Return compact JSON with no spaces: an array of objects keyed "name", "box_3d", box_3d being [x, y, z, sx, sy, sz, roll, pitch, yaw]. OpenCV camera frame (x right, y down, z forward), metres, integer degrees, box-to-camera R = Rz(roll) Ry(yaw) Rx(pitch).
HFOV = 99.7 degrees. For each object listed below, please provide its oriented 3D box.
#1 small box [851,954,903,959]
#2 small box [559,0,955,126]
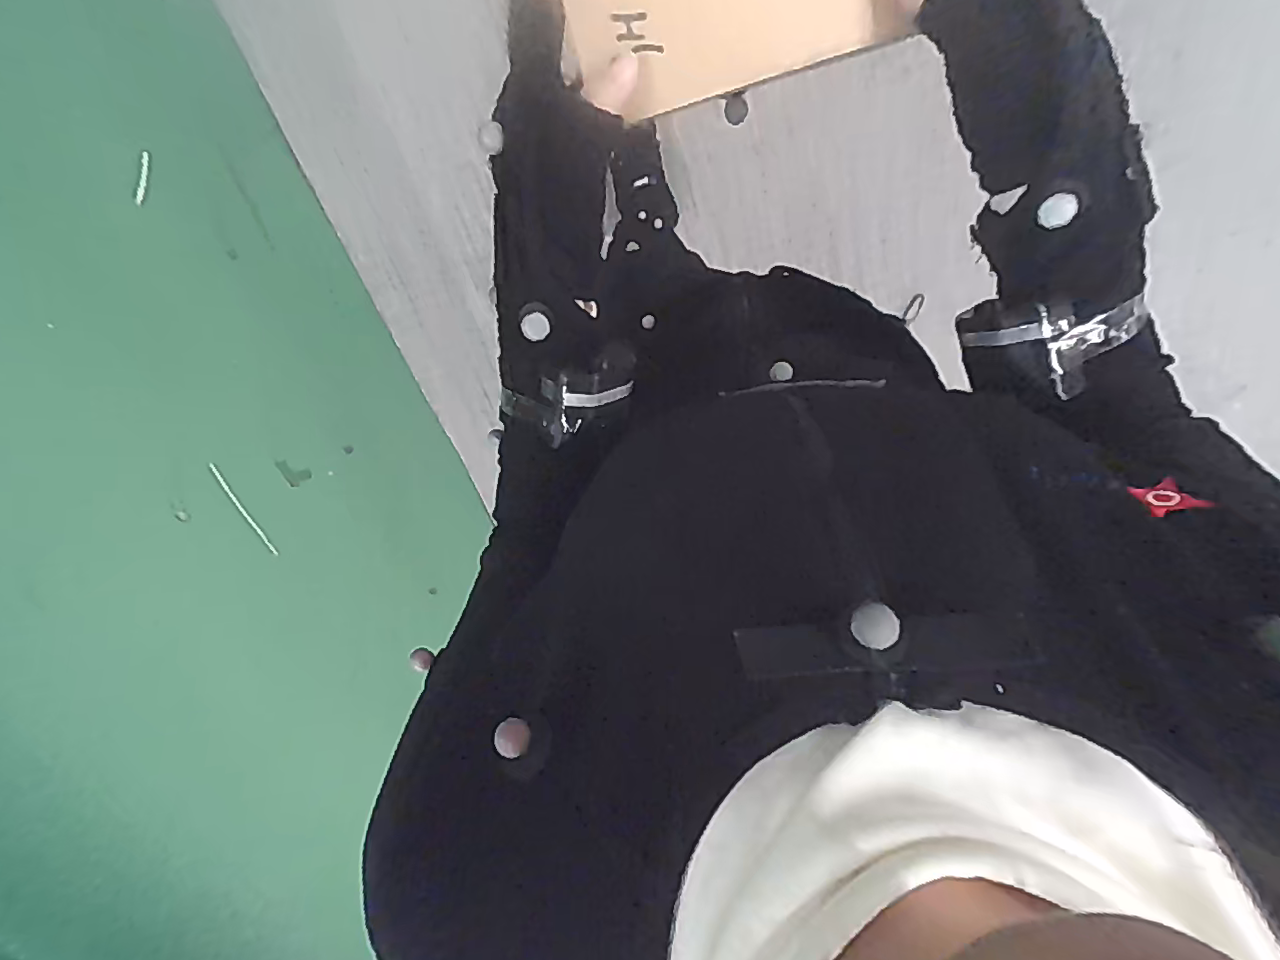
[{"name":"small box","box_3d":[0.539,1.211,1.214,0.179,0.176,0.168,-19,115,12]},{"name":"small box","box_3d":[0.037,-0.301,0.277,0.179,0.176,0.168,-13,121,7]}]
